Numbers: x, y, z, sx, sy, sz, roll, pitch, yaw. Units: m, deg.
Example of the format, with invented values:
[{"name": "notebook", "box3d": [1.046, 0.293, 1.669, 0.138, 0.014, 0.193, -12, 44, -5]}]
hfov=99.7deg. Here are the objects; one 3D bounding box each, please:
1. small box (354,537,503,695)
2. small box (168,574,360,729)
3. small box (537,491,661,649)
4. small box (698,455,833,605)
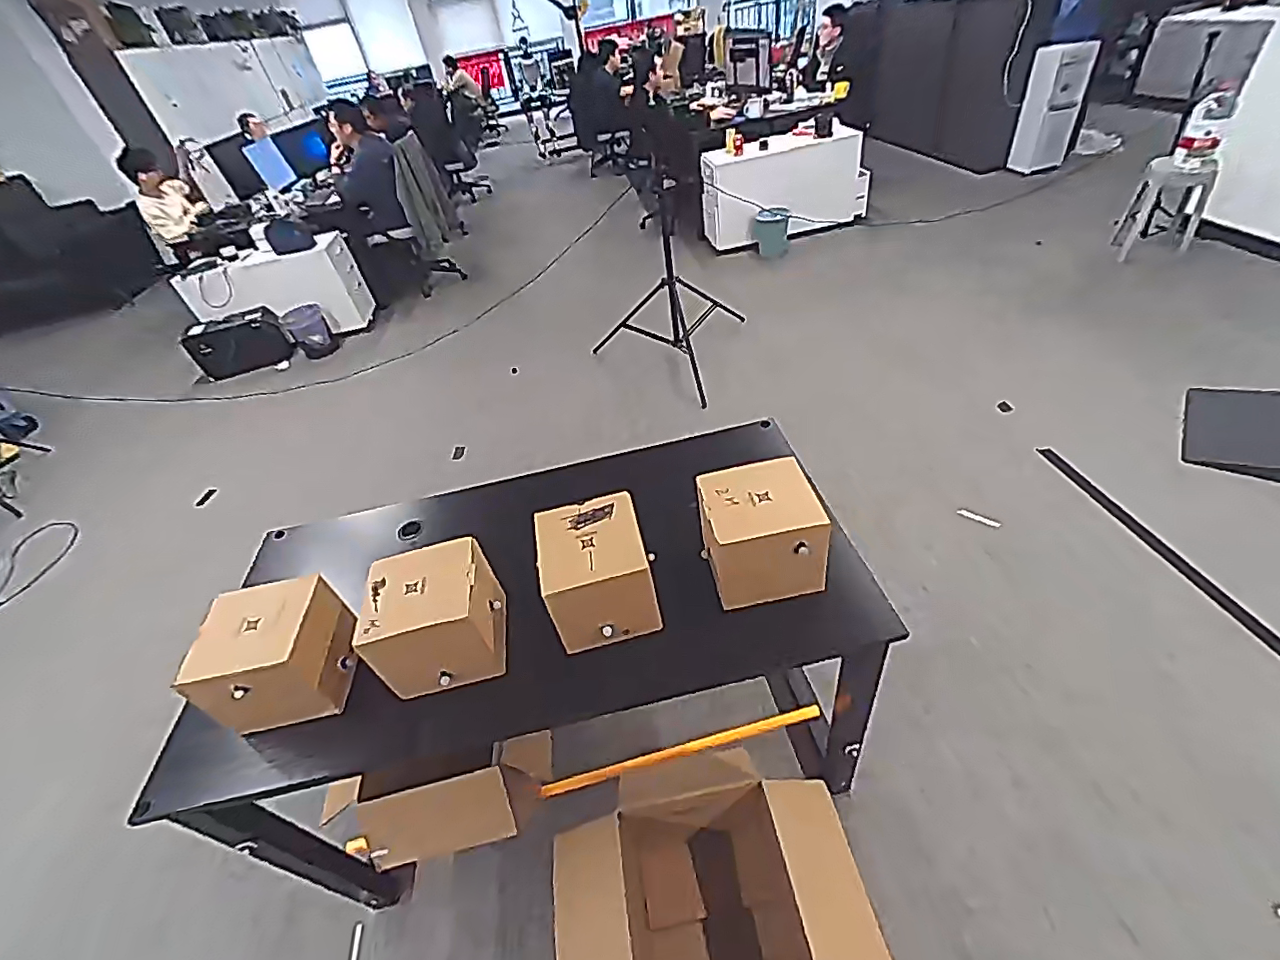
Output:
[{"name": "small box", "box3d": [-0.330, 0.224, 0.887, 0.179, 0.176, 0.168, -13, 41, -4]}, {"name": "small box", "box3d": [-0.587, 0.282, 0.880, 0.179, 0.176, 0.168, -11, 42, -1]}, {"name": "small box", "box3d": [-0.069, 0.151, 0.906, 0.168, 0.176, 0.179, -14, 42, -3]}, {"name": "small box", "box3d": [0.203, 0.086, 0.912, 0.179, 0.176, 0.168, -12, 40, 0]}]
